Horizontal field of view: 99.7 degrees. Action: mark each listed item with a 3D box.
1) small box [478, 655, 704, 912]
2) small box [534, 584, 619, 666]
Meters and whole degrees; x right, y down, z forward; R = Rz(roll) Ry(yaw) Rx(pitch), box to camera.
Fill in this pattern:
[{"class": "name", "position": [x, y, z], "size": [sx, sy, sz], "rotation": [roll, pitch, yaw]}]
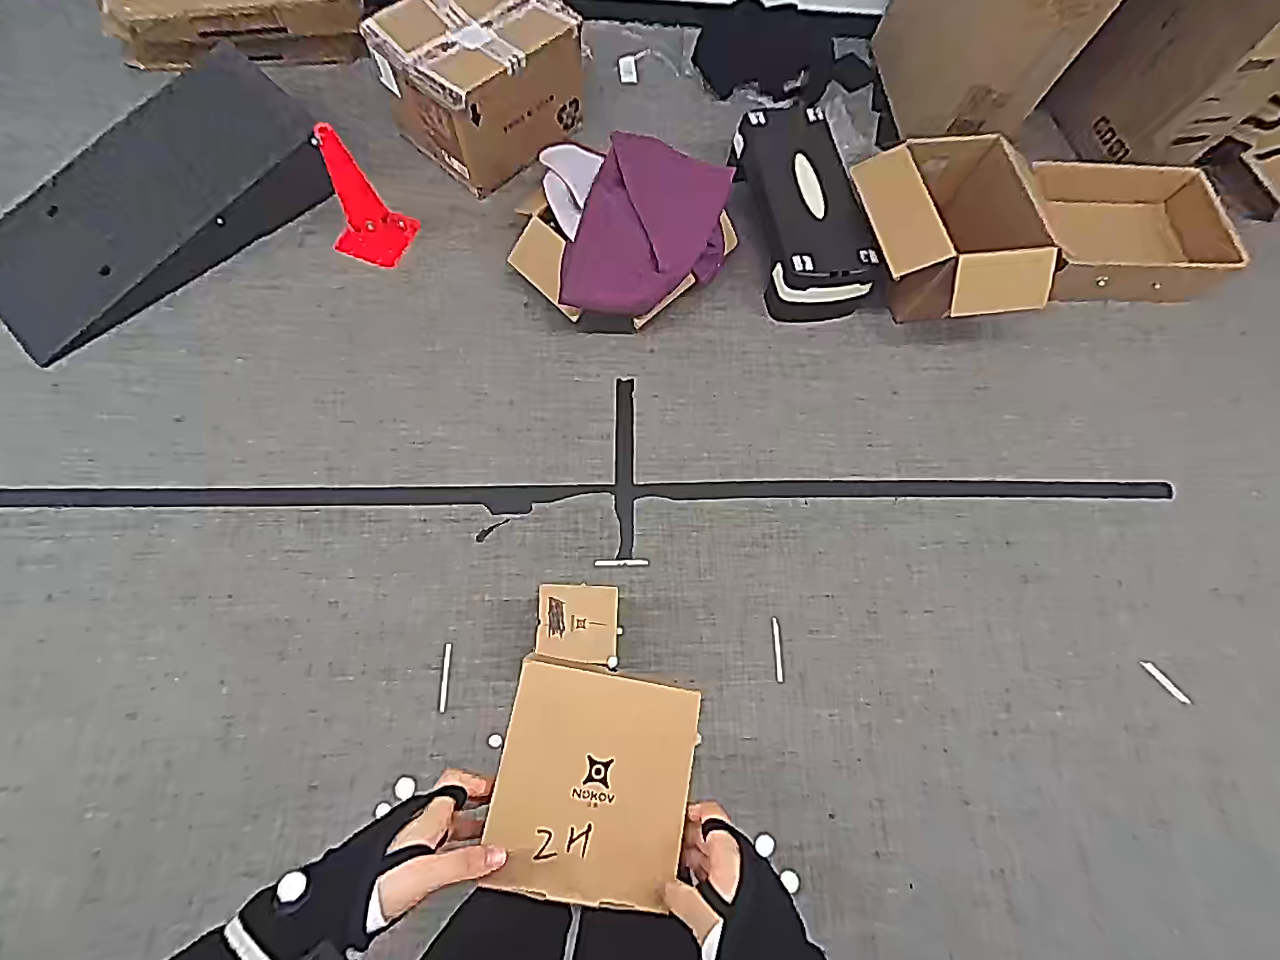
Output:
[{"class": "small box", "position": [-0.048, 0.277, 0.535], "size": [0.168, 0.176, 0.179], "rotation": [13, 72, -5]}, {"class": "small box", "position": [-0.140, 0.337, 1.242], "size": [0.179, 0.176, 0.168], "rotation": [3, 71, -4]}]
